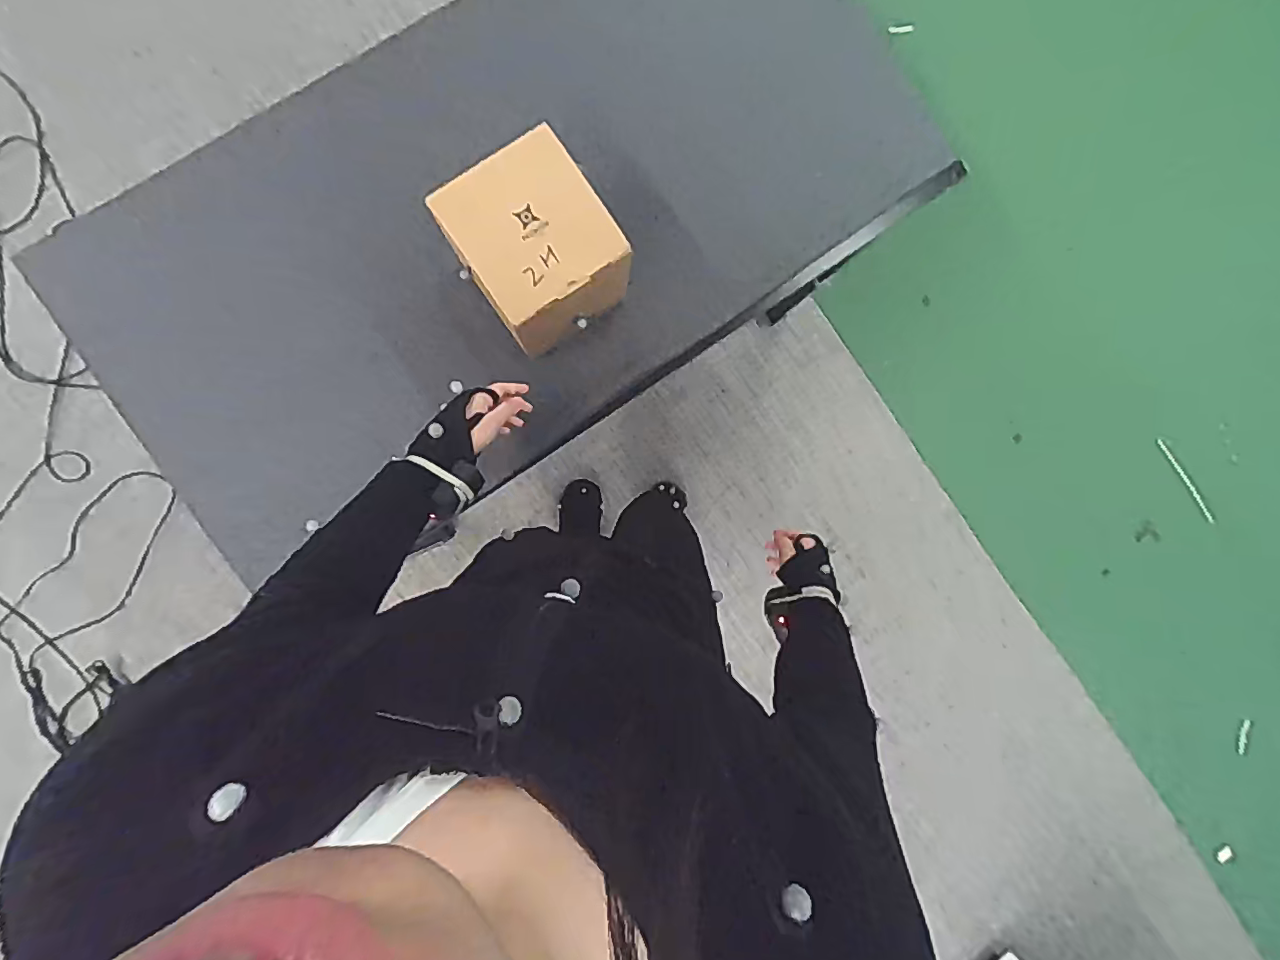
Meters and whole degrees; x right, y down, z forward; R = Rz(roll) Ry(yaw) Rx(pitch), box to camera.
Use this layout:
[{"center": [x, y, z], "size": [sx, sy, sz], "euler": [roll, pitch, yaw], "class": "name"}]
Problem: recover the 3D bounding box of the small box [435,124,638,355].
[{"center": [-0.122, -0.286, 0.685], "size": [0.168, 0.176, 0.179], "euler": [-35, 92, -4], "class": "small box"}]
